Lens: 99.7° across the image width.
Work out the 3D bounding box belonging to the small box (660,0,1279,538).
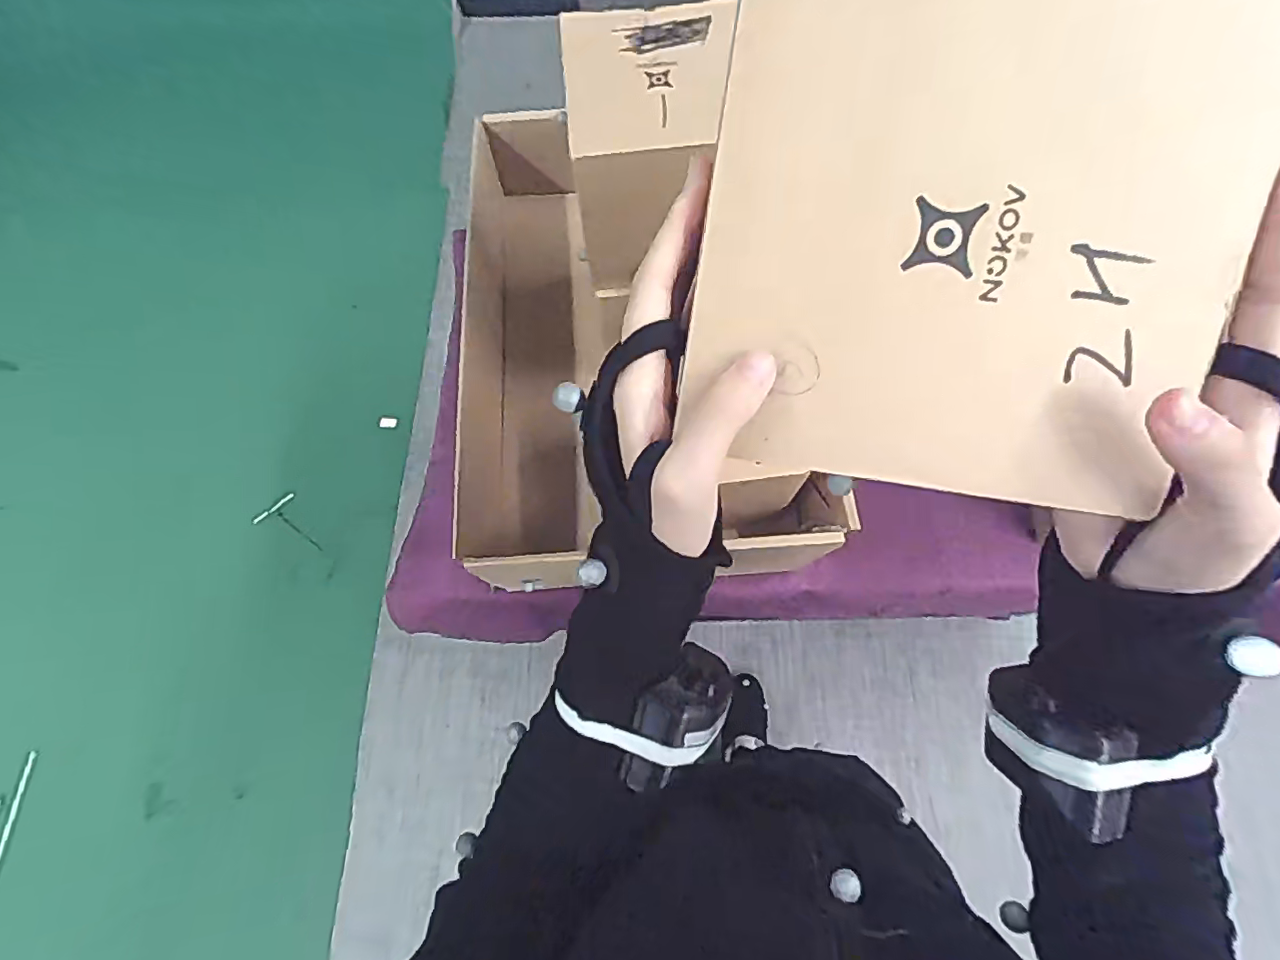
[{"bbox_3d":[0.113,-0.088,0.259,0.179,0.176,0.168,10,104,3],"label":"small box"}]

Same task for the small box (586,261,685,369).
[{"bbox_3d":[0.021,-0.256,0.696,0.168,0.176,0.179,-7,71,0],"label":"small box"}]

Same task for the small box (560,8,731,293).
[{"bbox_3d":[0.015,-0.317,0.543,0.168,0.176,0.179,-6,72,0],"label":"small box"}]
